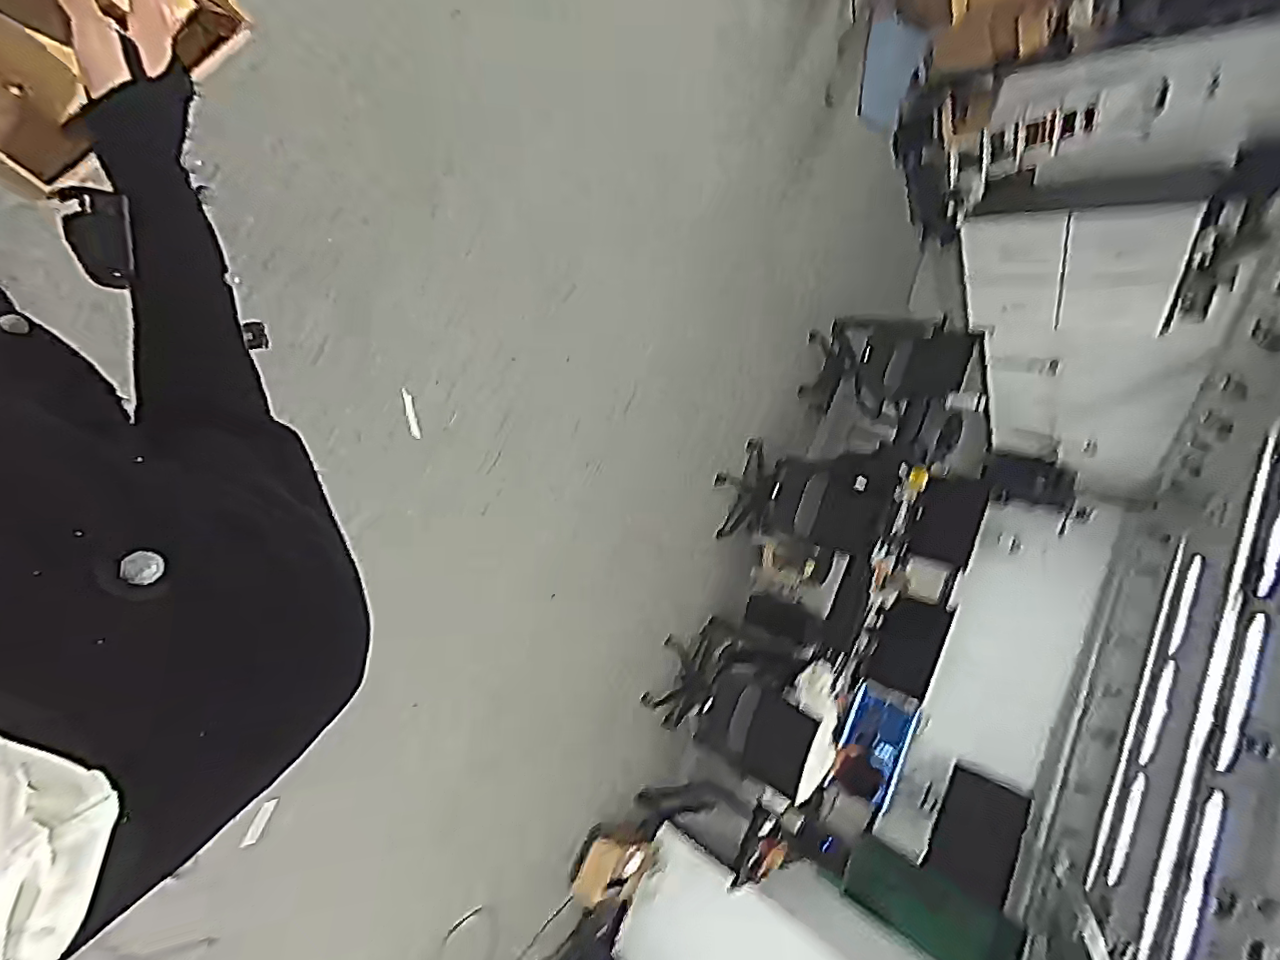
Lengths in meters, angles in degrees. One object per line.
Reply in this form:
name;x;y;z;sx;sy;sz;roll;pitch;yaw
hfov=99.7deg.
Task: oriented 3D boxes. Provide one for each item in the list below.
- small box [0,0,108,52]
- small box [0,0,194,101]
small box;-0.497;-0.465;0.391;0.168;0.176;0.179;7;103;-50
small box;-0.666;-0.563;0.606;0.168;0.176;0.179;-59;138;-20
